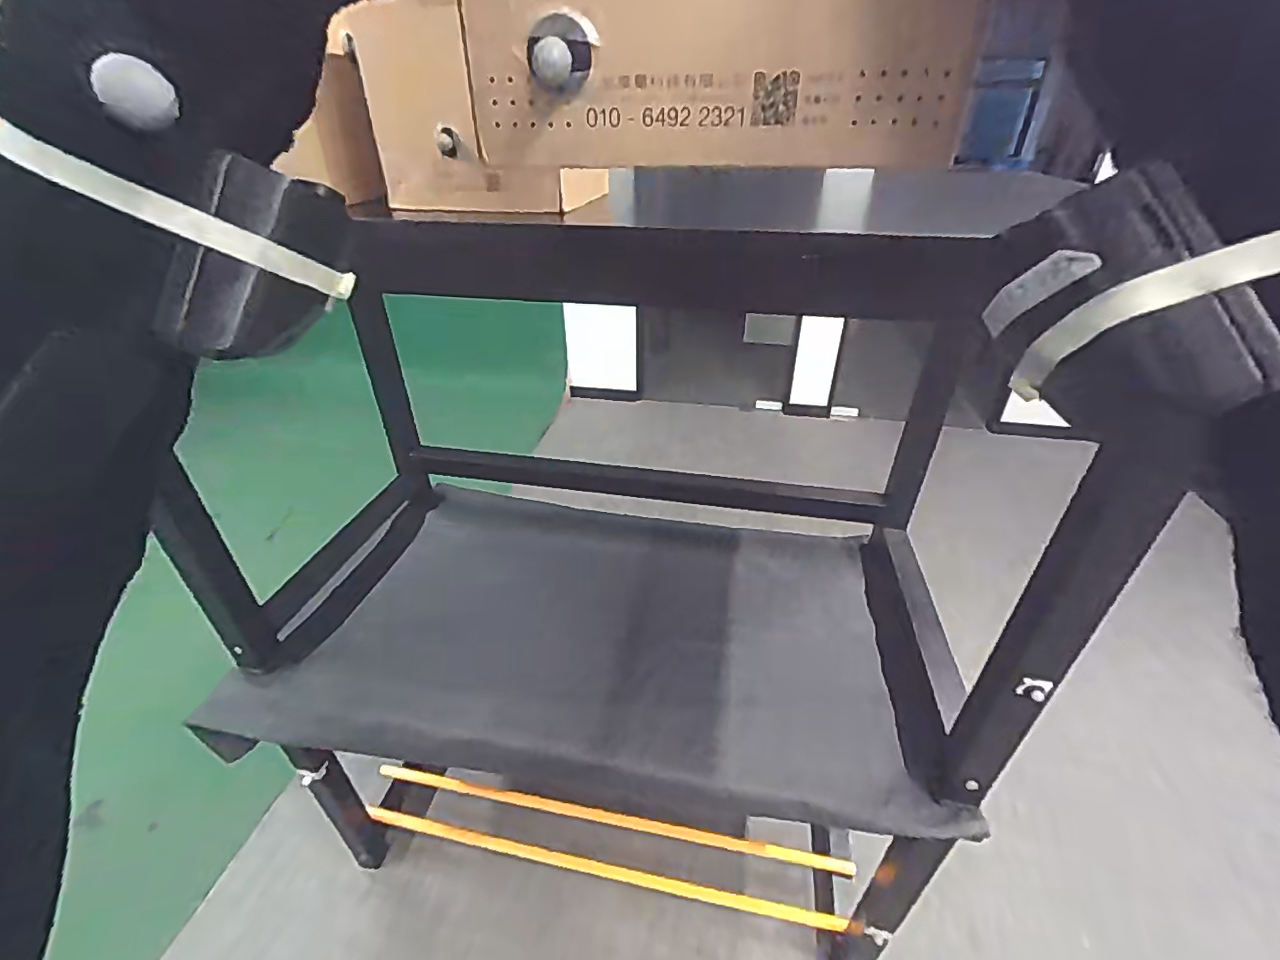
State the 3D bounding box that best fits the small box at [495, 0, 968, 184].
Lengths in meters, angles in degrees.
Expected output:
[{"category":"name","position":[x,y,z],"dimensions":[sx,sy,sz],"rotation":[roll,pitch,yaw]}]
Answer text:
[{"category":"small box","position":[0.037,-0.226,0.234],"dimensions":[0.168,0.176,0.179],"rotation":[3,31,5]}]
